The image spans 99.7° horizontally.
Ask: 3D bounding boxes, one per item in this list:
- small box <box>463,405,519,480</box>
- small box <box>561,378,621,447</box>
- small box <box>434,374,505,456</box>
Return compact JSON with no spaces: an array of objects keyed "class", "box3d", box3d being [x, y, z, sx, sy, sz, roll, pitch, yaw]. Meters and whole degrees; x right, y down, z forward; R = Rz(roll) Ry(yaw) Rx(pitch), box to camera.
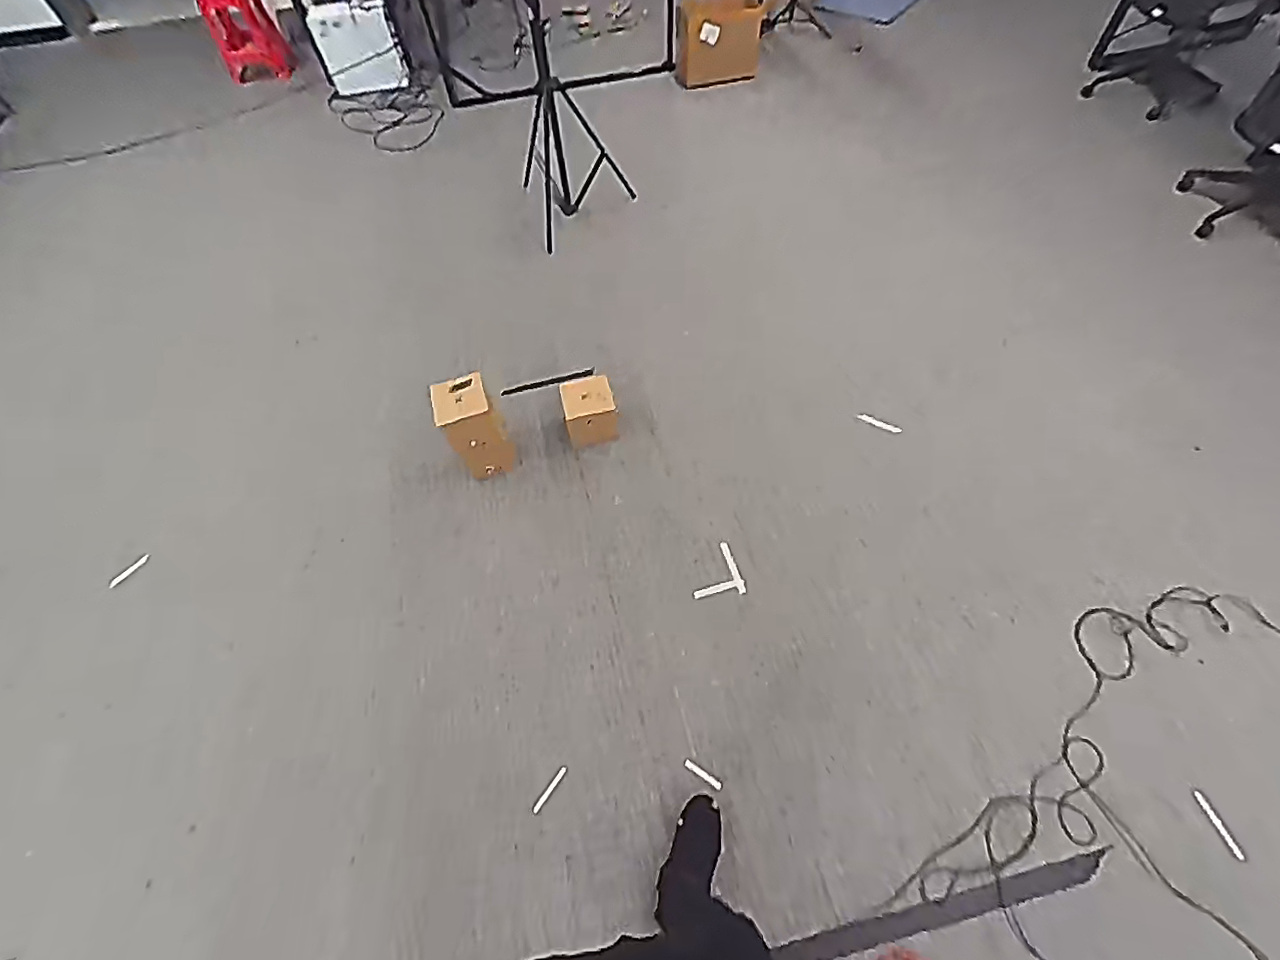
[{"class":"small box","box3d":[-0.537,-0.128,1.898,0.168,0.176,0.179,-19,59,-7]},{"class":"small box","box3d":[-0.174,-0.238,1.943,0.179,0.176,0.168,-12,59,-5]},{"class":"small box","box3d":[-0.552,-0.209,1.756,0.168,0.176,0.179,-18,59,-6]}]
